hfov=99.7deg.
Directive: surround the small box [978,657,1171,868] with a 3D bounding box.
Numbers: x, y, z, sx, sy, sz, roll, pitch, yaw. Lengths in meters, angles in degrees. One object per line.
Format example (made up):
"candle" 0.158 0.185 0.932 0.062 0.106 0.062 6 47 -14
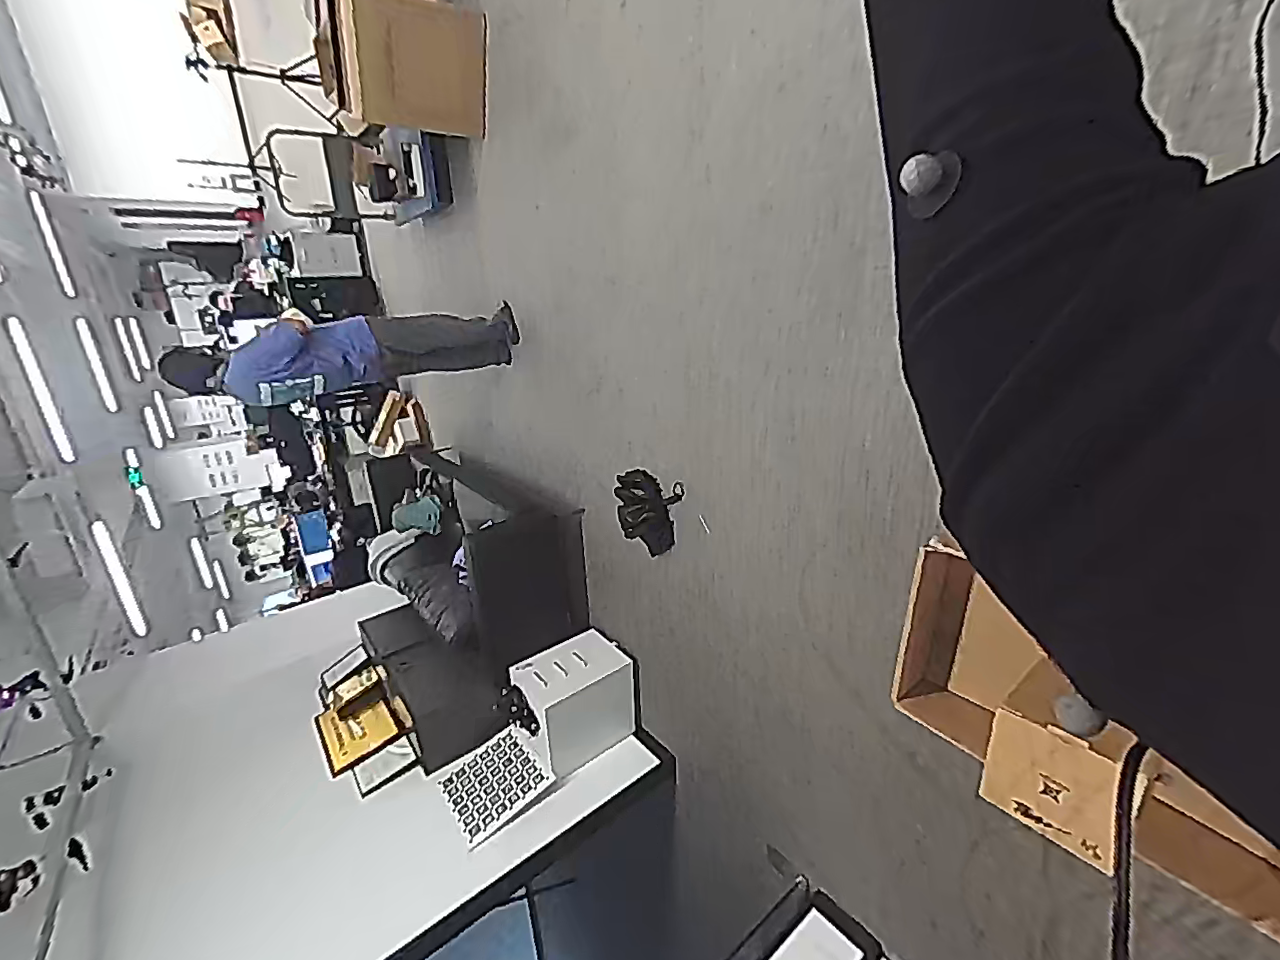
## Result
"small box" 0.628 0.391 0.785 0.168 0.176 0.179 22 121 49
